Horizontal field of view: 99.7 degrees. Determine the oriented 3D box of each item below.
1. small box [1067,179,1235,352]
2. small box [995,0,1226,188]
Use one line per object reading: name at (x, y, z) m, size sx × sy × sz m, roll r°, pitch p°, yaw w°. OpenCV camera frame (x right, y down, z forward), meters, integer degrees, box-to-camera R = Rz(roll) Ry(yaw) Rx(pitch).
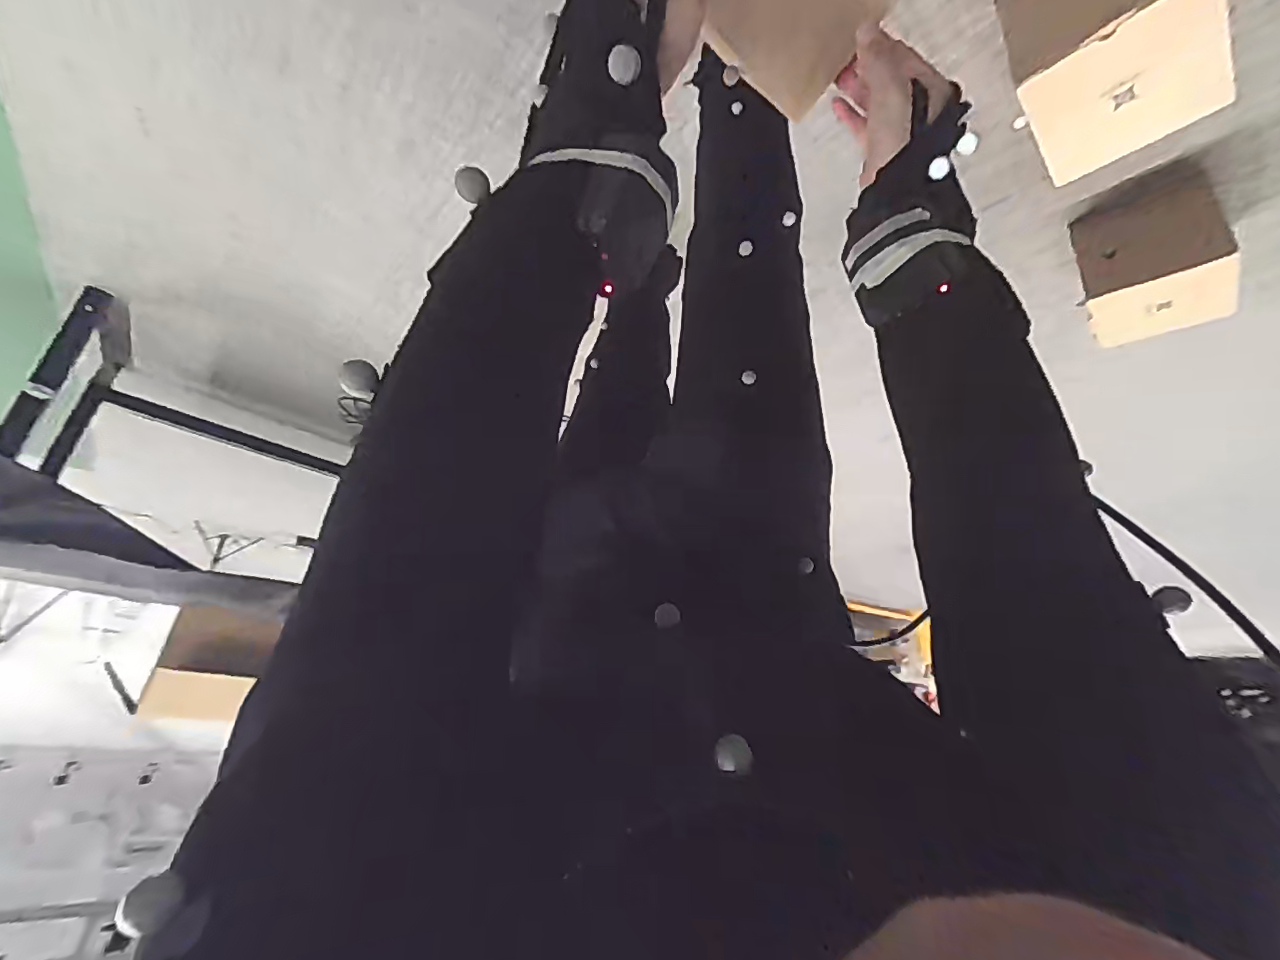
small box at (0.844, -0.351, 0.906) m, size 0.179 × 0.176 × 0.168 m, roll -16°, pitch 150°, yaw 41°
small box at (0.545, -0.503, 0.635) m, size 0.179 × 0.176 × 0.168 m, roll 25°, pitch 151°, yaw -36°
